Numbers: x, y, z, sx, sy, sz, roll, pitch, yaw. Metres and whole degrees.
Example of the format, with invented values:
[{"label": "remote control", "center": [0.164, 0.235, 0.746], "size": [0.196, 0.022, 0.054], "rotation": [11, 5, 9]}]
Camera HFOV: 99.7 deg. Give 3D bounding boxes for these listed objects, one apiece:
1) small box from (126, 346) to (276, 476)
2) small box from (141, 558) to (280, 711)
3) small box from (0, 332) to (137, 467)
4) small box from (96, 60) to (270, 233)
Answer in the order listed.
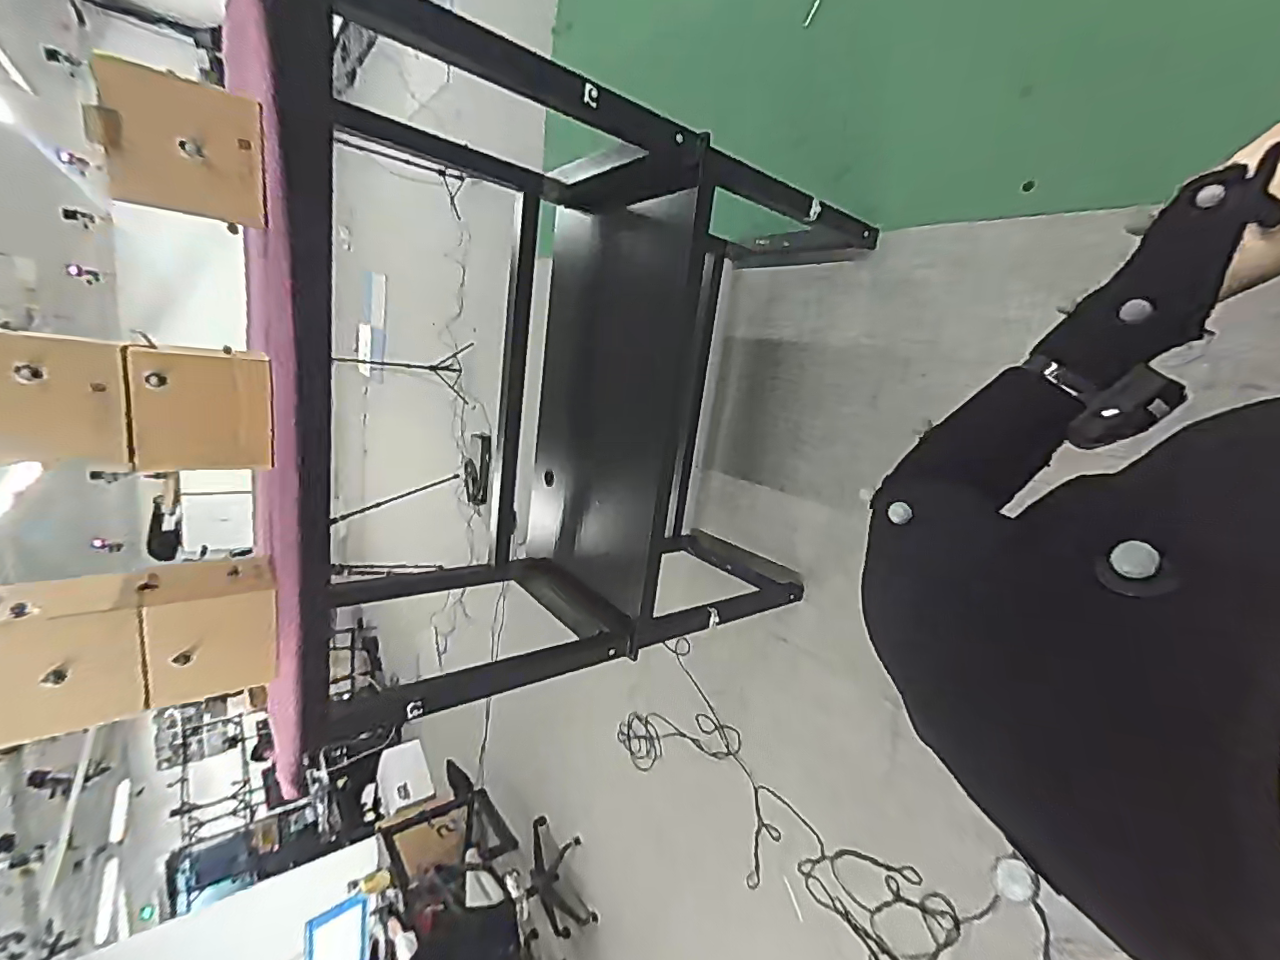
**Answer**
[{"label": "small box", "center": [-0.679, -0.110, 0.853], "size": [0.168, 0.176, 0.179], "rotation": [22, 109, 50]}, {"label": "small box", "center": [-0.714, 0.246, 0.910], "size": [0.168, 0.176, 0.179], "rotation": [20, 107, 48]}, {"label": "small box", "center": [-0.807, -0.112, 0.753], "size": [0.179, 0.176, 0.168], "rotation": [19, 105, 52]}, {"label": "small box", "center": [-0.640, -0.462, 0.778], "size": [0.179, 0.176, 0.168], "rotation": [32, 118, 48]}]
